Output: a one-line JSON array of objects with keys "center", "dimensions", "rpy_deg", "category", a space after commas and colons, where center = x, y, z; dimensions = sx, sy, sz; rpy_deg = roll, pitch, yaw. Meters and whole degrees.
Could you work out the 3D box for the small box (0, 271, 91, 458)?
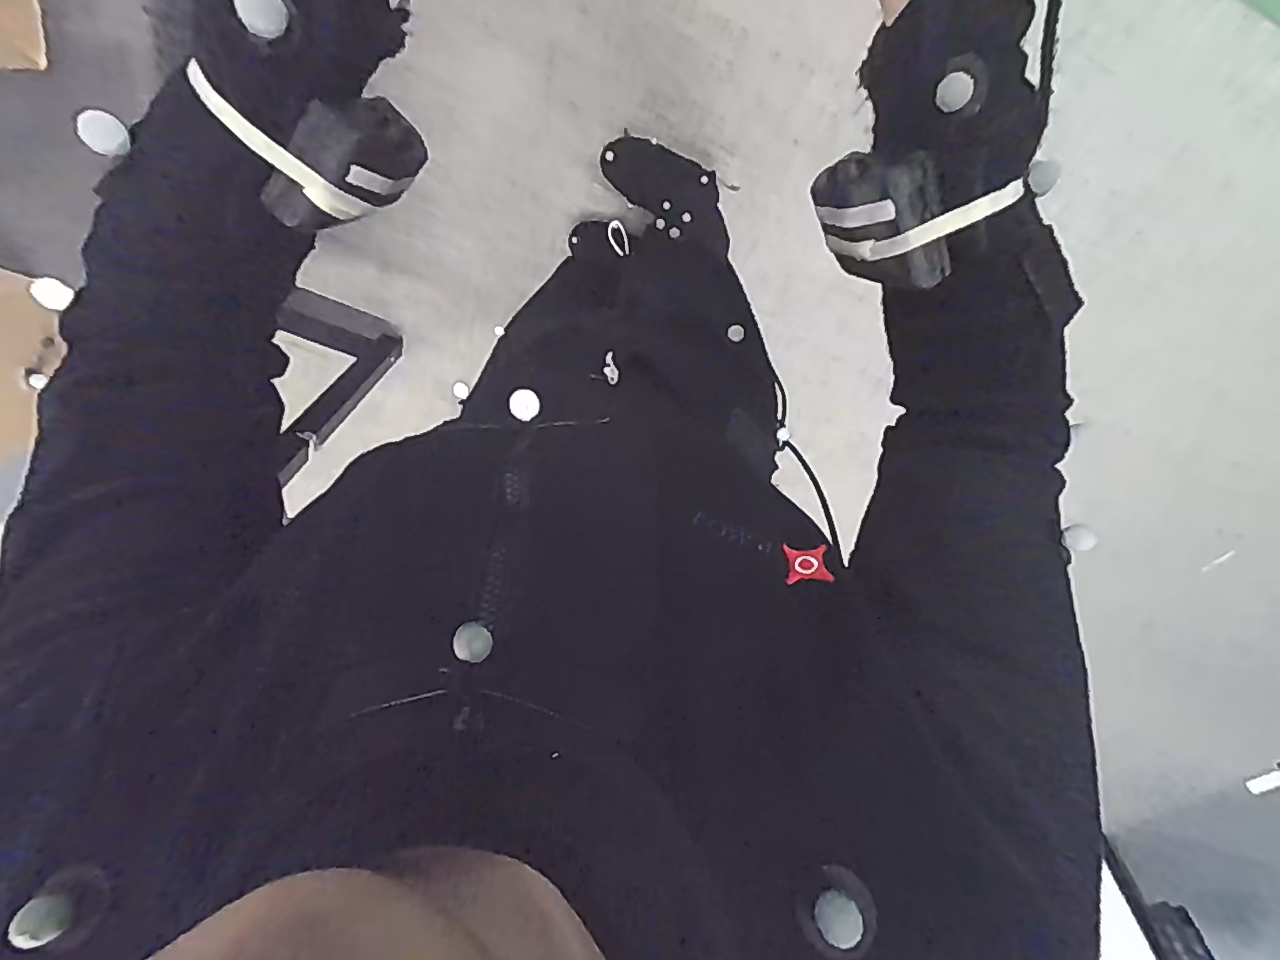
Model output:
[{"center": [-0.703, -0.113, 0.514], "dimensions": [0.179, 0.176, 0.168], "rpy_deg": [17, 128, -10], "category": "small box"}]
